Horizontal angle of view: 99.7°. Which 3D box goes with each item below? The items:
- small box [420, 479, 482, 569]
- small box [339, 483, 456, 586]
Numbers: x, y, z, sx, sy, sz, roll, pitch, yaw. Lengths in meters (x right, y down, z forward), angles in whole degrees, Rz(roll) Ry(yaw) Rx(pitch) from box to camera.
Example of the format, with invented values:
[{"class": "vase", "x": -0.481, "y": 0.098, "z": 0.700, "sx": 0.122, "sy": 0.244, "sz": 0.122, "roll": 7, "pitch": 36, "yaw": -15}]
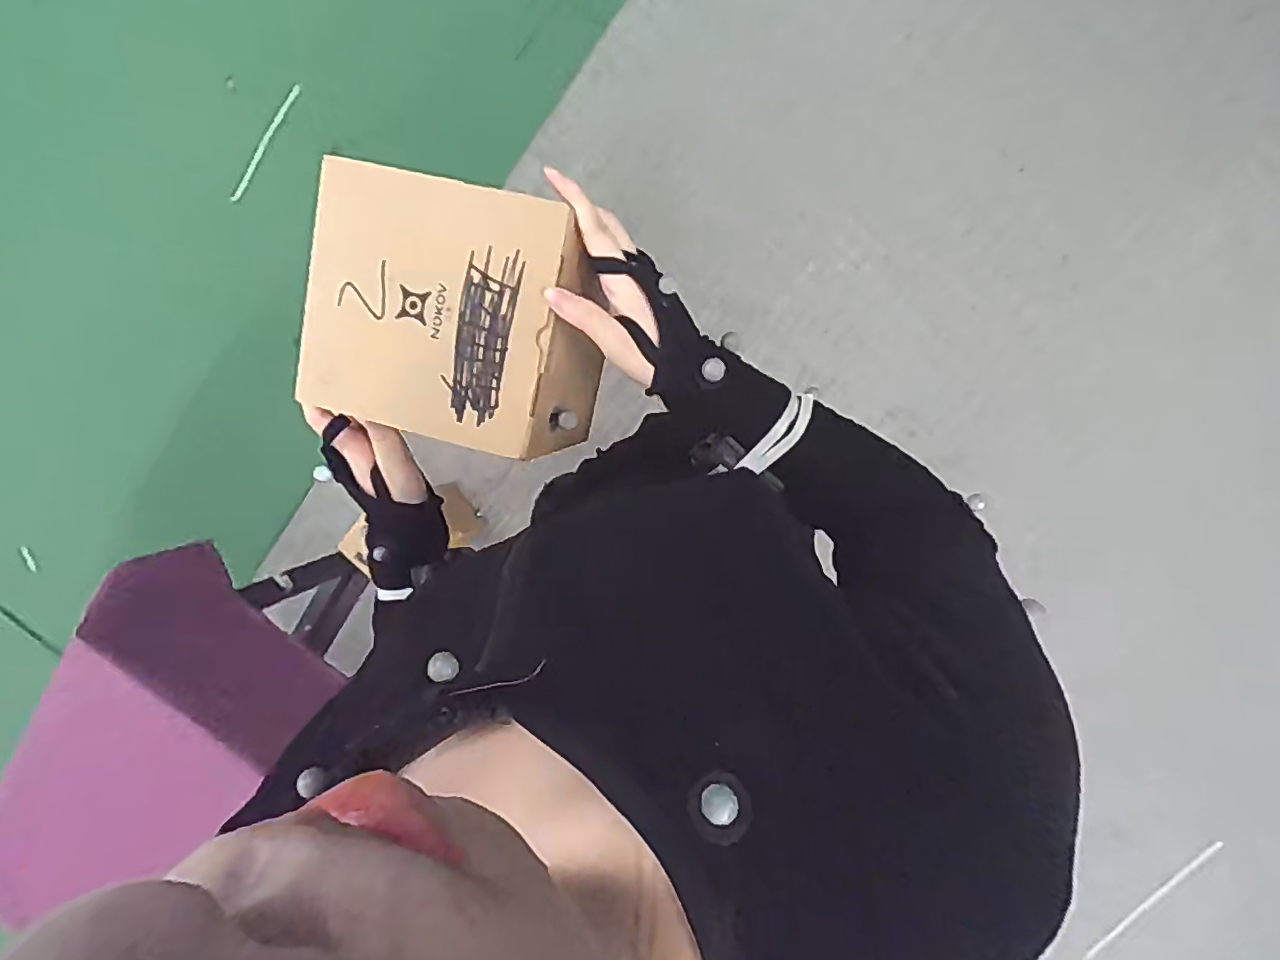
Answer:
[{"class": "small box", "x": -0.566, "y": 0.114, "z": 1.506, "sx": 0.179, "sy": 0.176, "sz": 0.168, "roll": -43, "pitch": 89, "yaw": 11}, {"class": "small box", "x": -0.588, "y": 0.126, "z": 1.343, "sx": 0.168, "sy": 0.176, "sz": 0.179, "roll": 43, "pitch": 99, "yaw": 2}]
